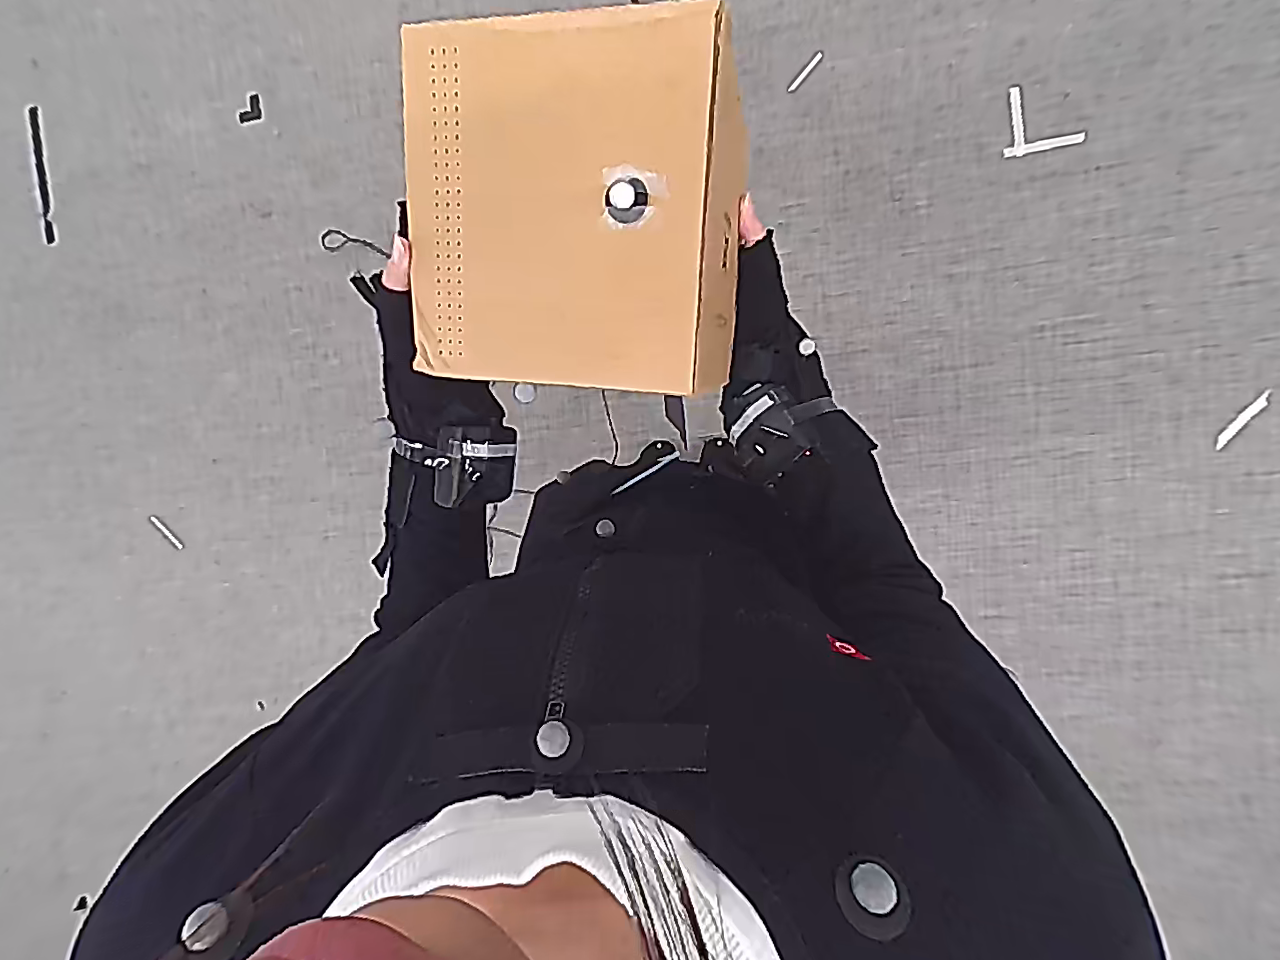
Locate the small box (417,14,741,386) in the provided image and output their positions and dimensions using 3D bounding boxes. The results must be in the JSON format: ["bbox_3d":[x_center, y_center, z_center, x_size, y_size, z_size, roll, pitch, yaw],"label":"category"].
[{"bbox_3d":[-0.029,-0.156,0.361,0.176,0.168,0.179,7,103,14],"label":"small box"}]
